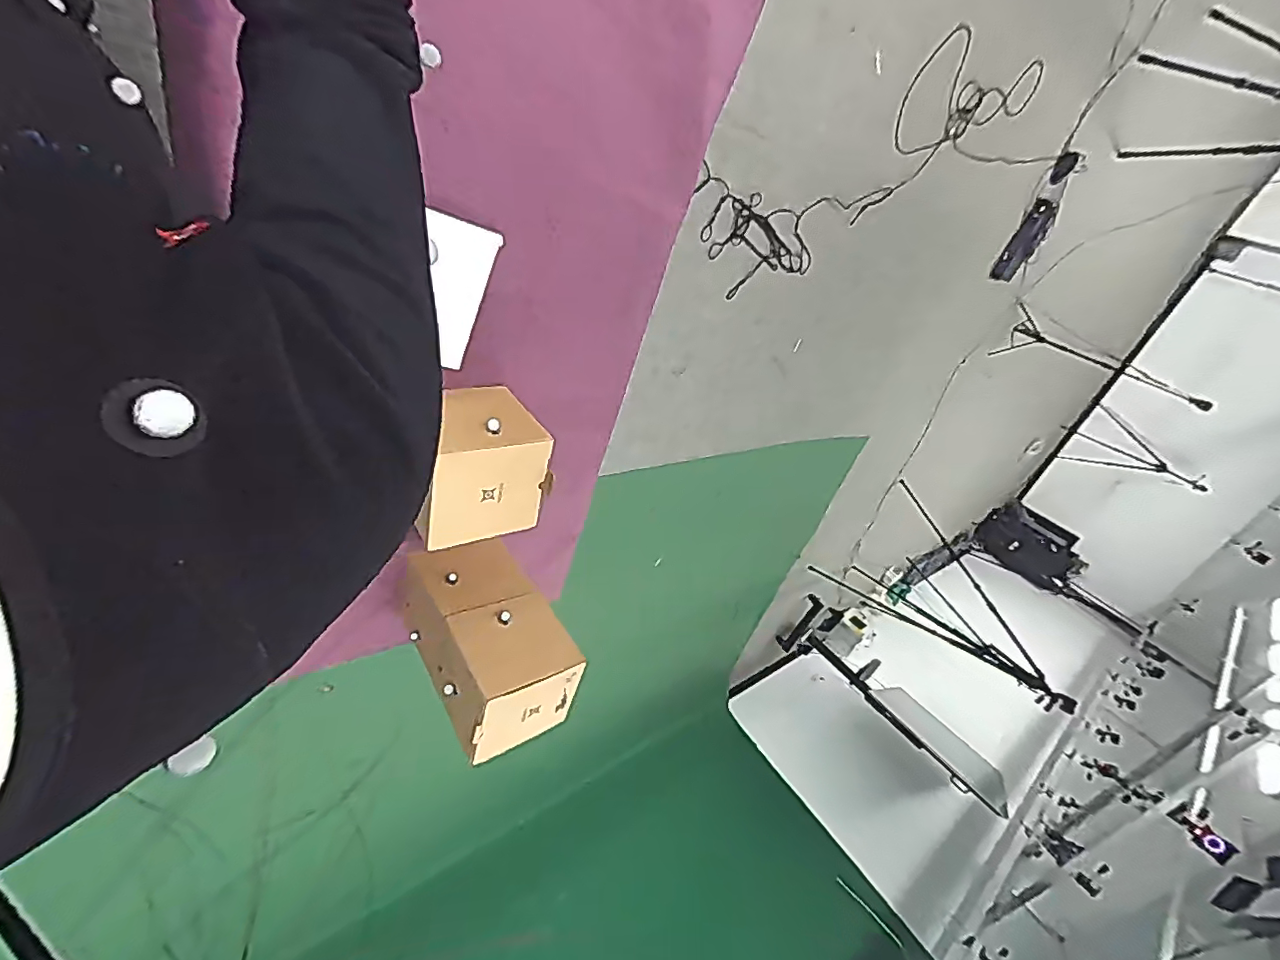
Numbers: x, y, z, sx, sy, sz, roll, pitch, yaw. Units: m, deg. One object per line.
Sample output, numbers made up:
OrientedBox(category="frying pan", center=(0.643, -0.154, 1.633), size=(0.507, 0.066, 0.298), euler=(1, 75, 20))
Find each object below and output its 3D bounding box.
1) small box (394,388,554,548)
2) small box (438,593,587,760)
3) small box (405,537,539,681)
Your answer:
OrientedBox(category="small box", center=(-0.258, -0.027, 0.817), size=(0.179, 0.176, 0.168), euler=(-12, 132, -39))
OrientedBox(category="small box", center=(-0.220, 0.316, 0.902), size=(0.179, 0.176, 0.168), euler=(-8, 131, -40))
OrientedBox(category="small box", center=(-0.318, 0.229, 1.001), size=(0.179, 0.176, 0.168), euler=(-9, 130, -41))
